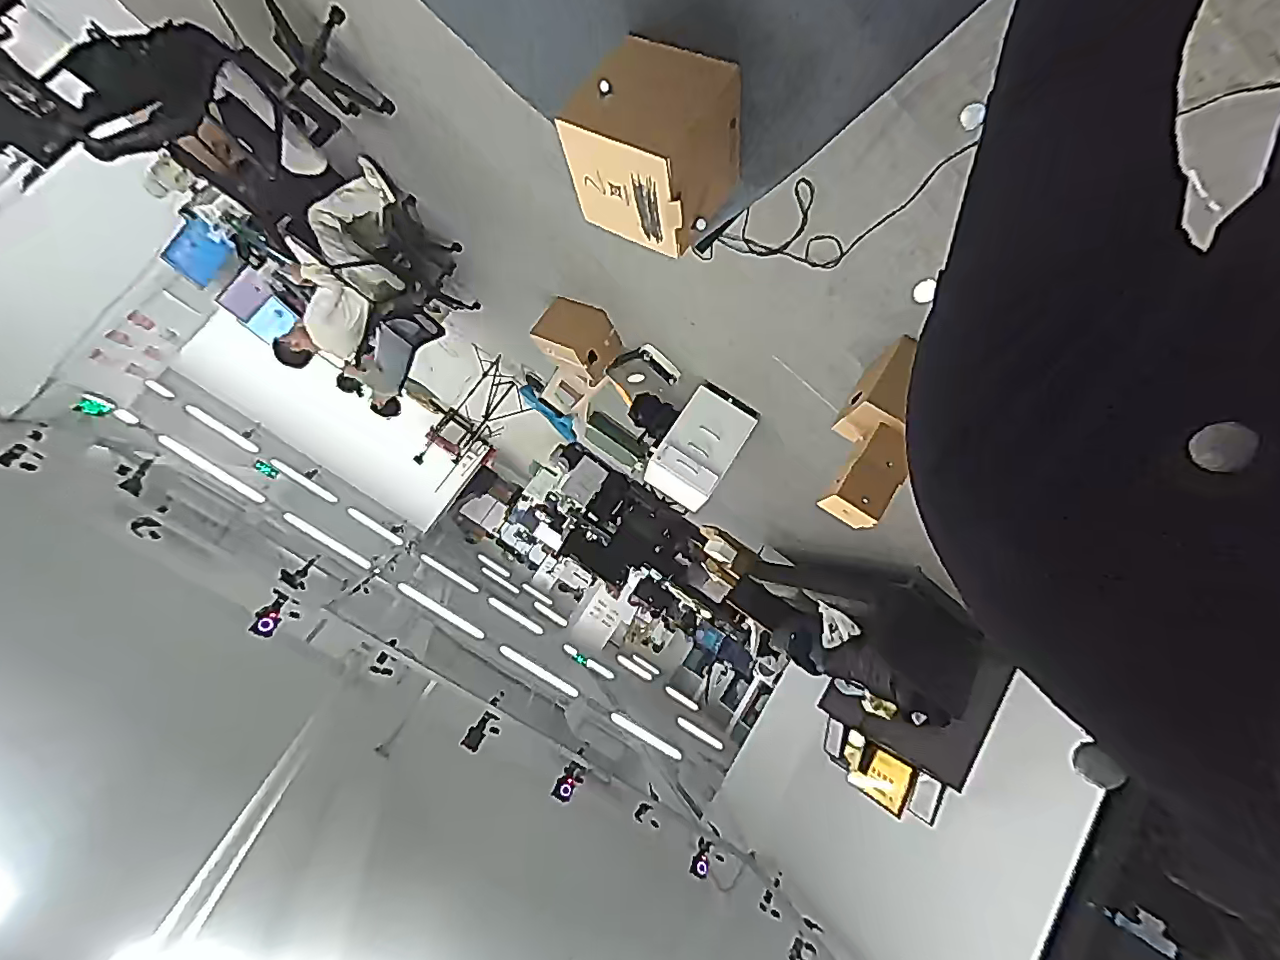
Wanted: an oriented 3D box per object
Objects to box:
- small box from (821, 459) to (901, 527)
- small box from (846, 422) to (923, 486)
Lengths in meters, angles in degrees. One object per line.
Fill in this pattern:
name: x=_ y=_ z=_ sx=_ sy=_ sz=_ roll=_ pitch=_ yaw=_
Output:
small box: x=0.789 y=0.042 z=1.934 sx=0.179 sy=0.176 sz=0.168 roll=33 pitch=167 yaw=3
small box: x=0.889 y=-0.083 z=1.969 sx=0.179 sy=0.176 sz=0.168 roll=34 pitch=167 yaw=4
